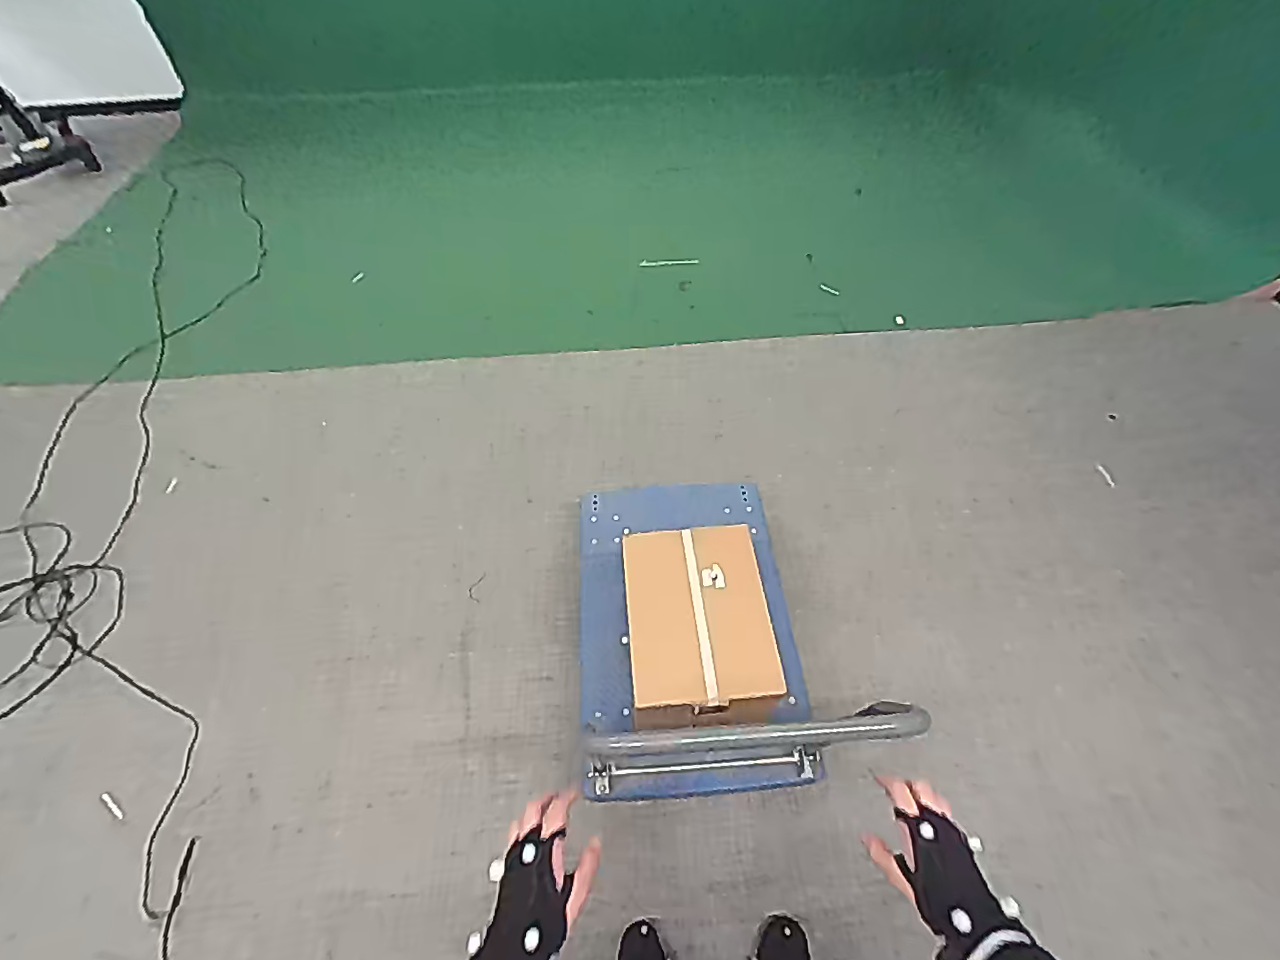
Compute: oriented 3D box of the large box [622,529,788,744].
[{"bbox_3d":[0.133,0.380,1.319,0.320,0.320,0.408,-5,53,-3],"label":"large box"}]
